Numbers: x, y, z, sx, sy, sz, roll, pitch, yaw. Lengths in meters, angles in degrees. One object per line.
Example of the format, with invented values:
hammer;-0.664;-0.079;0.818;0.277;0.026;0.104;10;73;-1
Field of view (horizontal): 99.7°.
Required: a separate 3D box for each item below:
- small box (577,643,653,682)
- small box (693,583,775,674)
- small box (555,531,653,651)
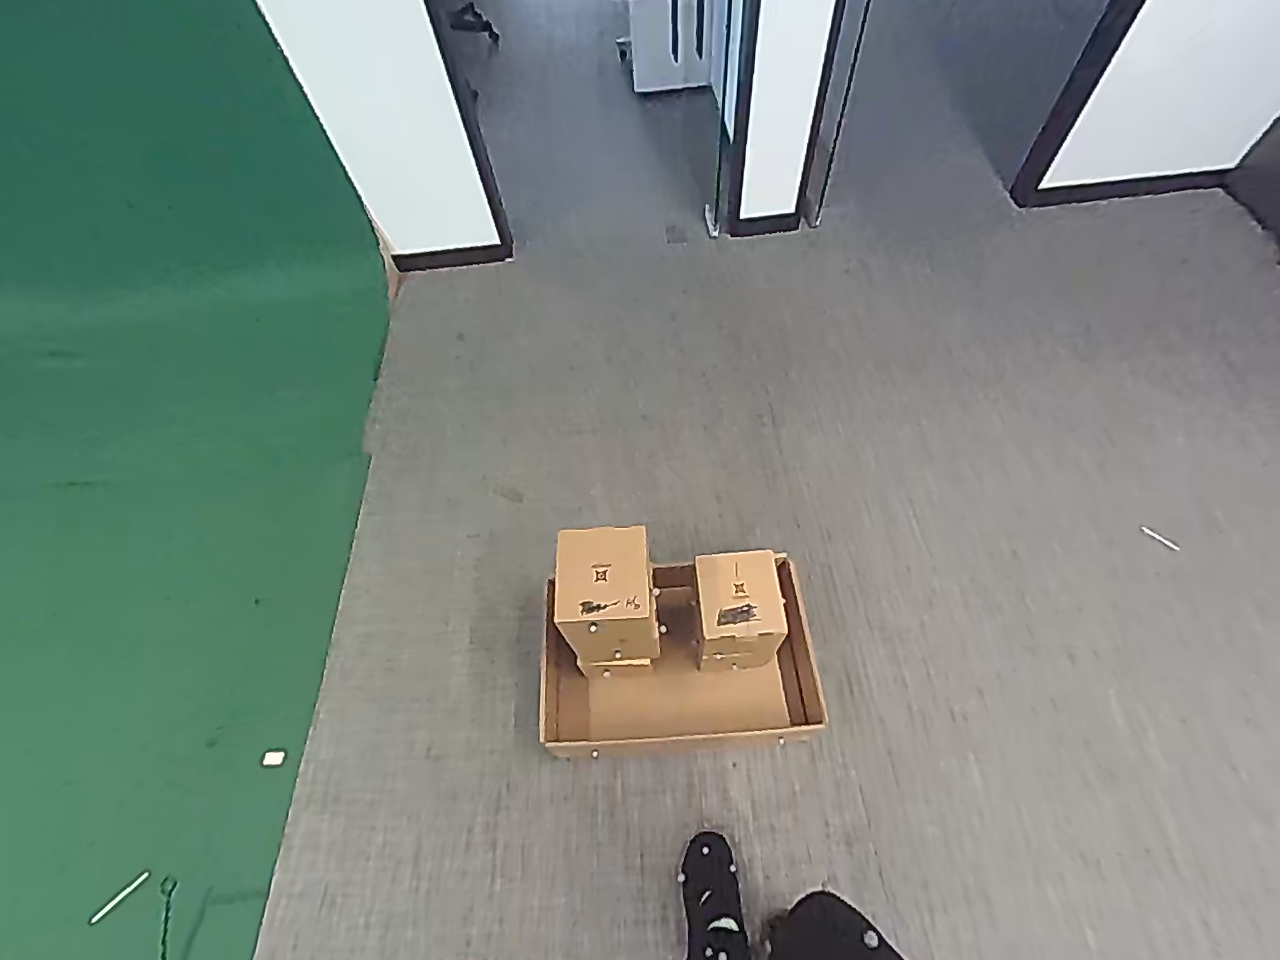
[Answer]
small box;-0.053;0.386;1.308;0.168;0.176;0.179;-1;59;2
small box;0.219;0.362;1.300;0.168;0.176;0.179;-5;59;2
small box;-0.061;0.214;1.028;0.168;0.176;0.179;-3;59;2
